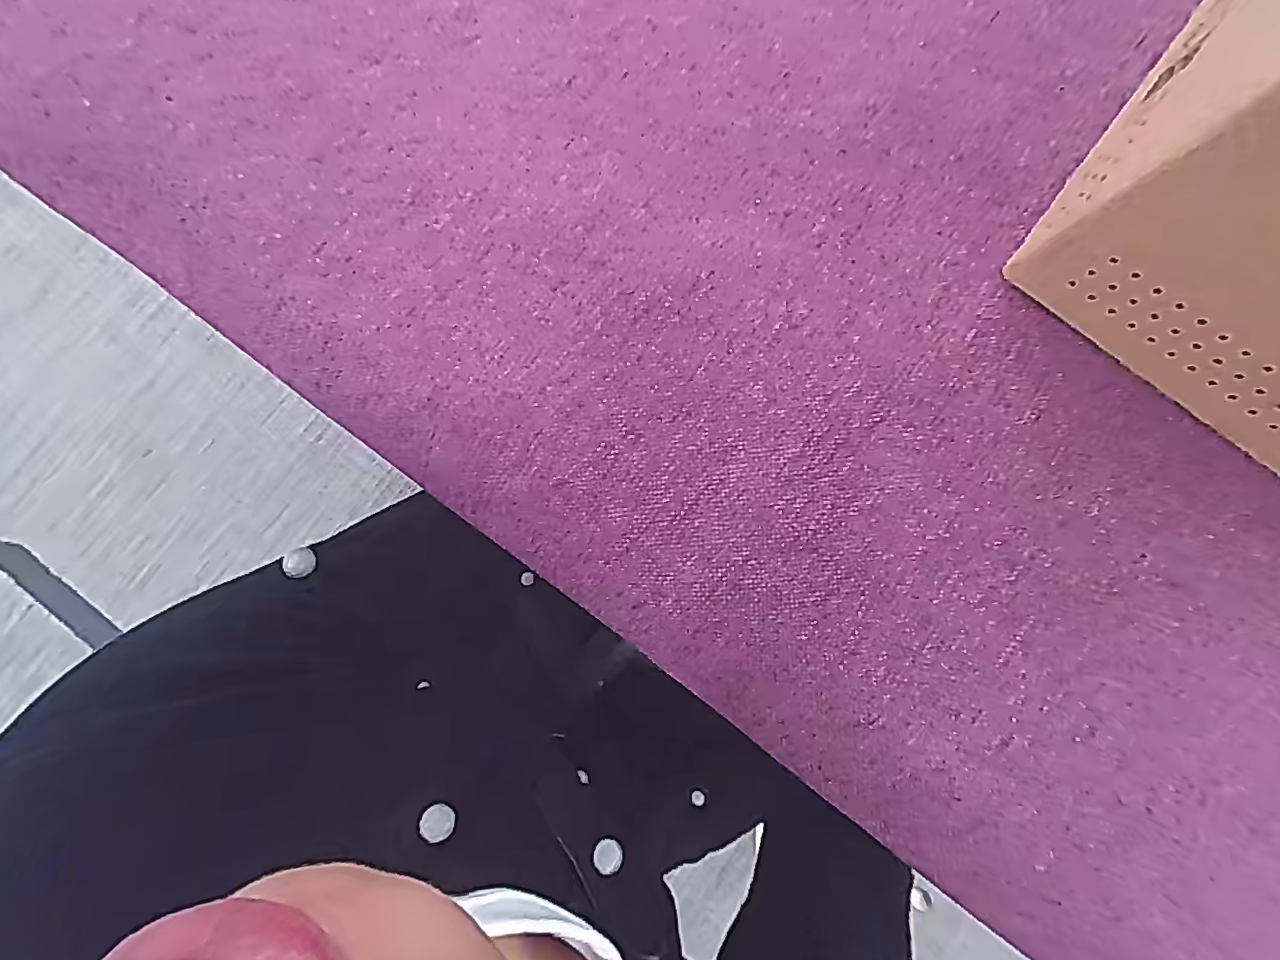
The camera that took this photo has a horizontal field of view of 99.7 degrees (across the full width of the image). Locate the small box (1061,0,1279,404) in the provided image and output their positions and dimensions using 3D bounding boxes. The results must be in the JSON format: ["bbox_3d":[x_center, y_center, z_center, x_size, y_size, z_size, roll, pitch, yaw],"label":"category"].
[{"bbox_3d":[0.229,-0.085,0.075,0.179,0.176,0.168,38,84,3],"label":"small box"}]

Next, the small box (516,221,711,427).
[{"bbox_3d":[-0.036,-0.189,0.715,0.179,0.176,0.168,35,78,2],"label":"small box"}]

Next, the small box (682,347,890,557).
[{"bbox_3d":[0.179,-0.031,0.700,0.179,0.176,0.168,36,53,8],"label":"small box"}]
